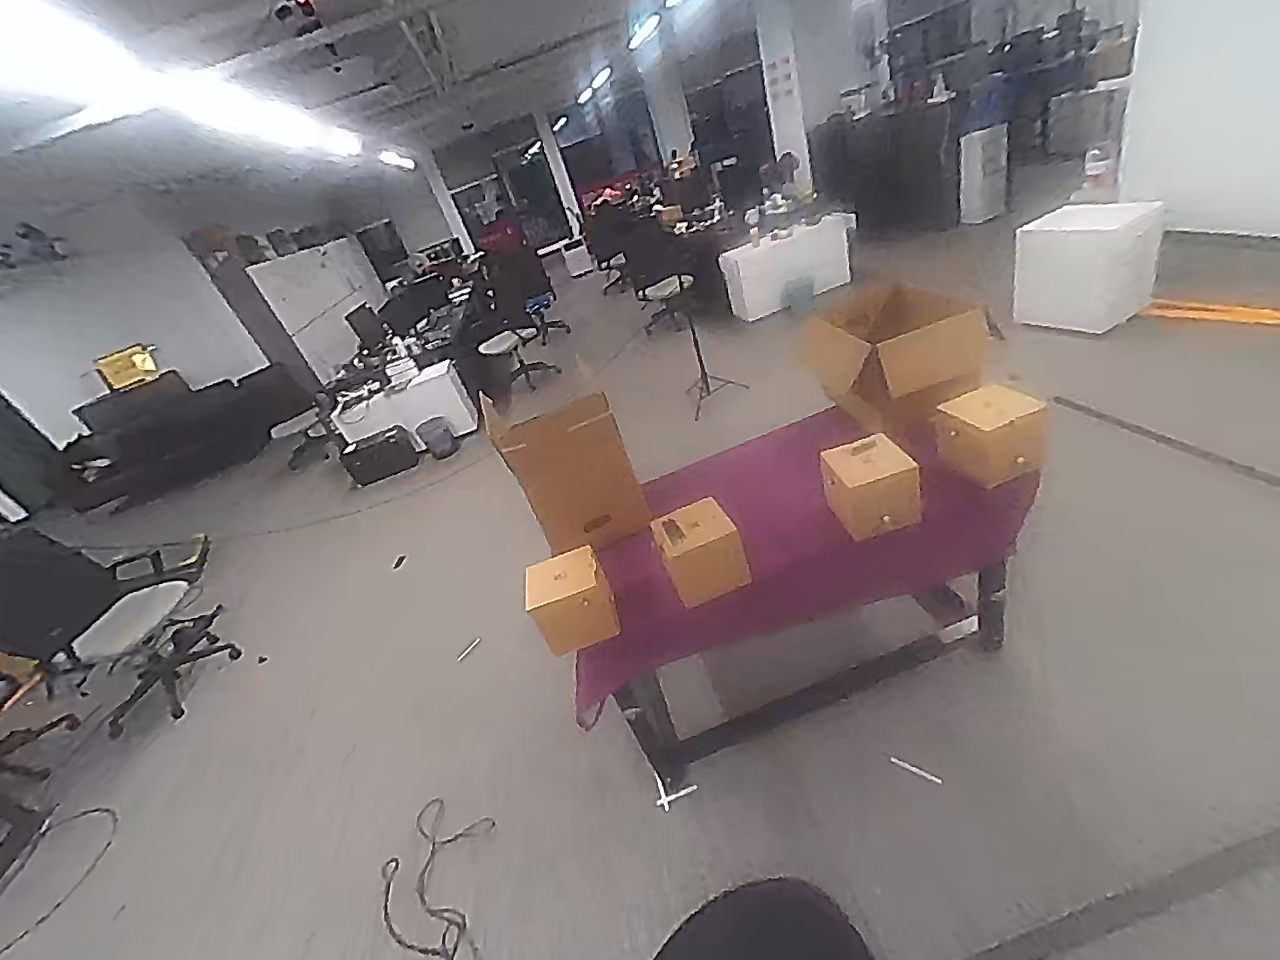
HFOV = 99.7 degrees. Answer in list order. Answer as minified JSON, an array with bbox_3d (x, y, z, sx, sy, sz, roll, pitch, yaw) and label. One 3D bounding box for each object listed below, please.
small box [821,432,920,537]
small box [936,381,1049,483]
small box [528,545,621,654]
[{"bbox_3d":[0.567,0.011,1.336,0.168,0.176,0.179,-19,32,4],"label":"small box"},{"bbox_3d":[0.873,-0.120,1.350,0.168,0.176,0.179,-23,31,-1],"label":"small box"},{"bbox_3d":[-0.163,0.297,1.333,0.179,0.176,0.168,-20,30,-1],"label":"small box"}]
